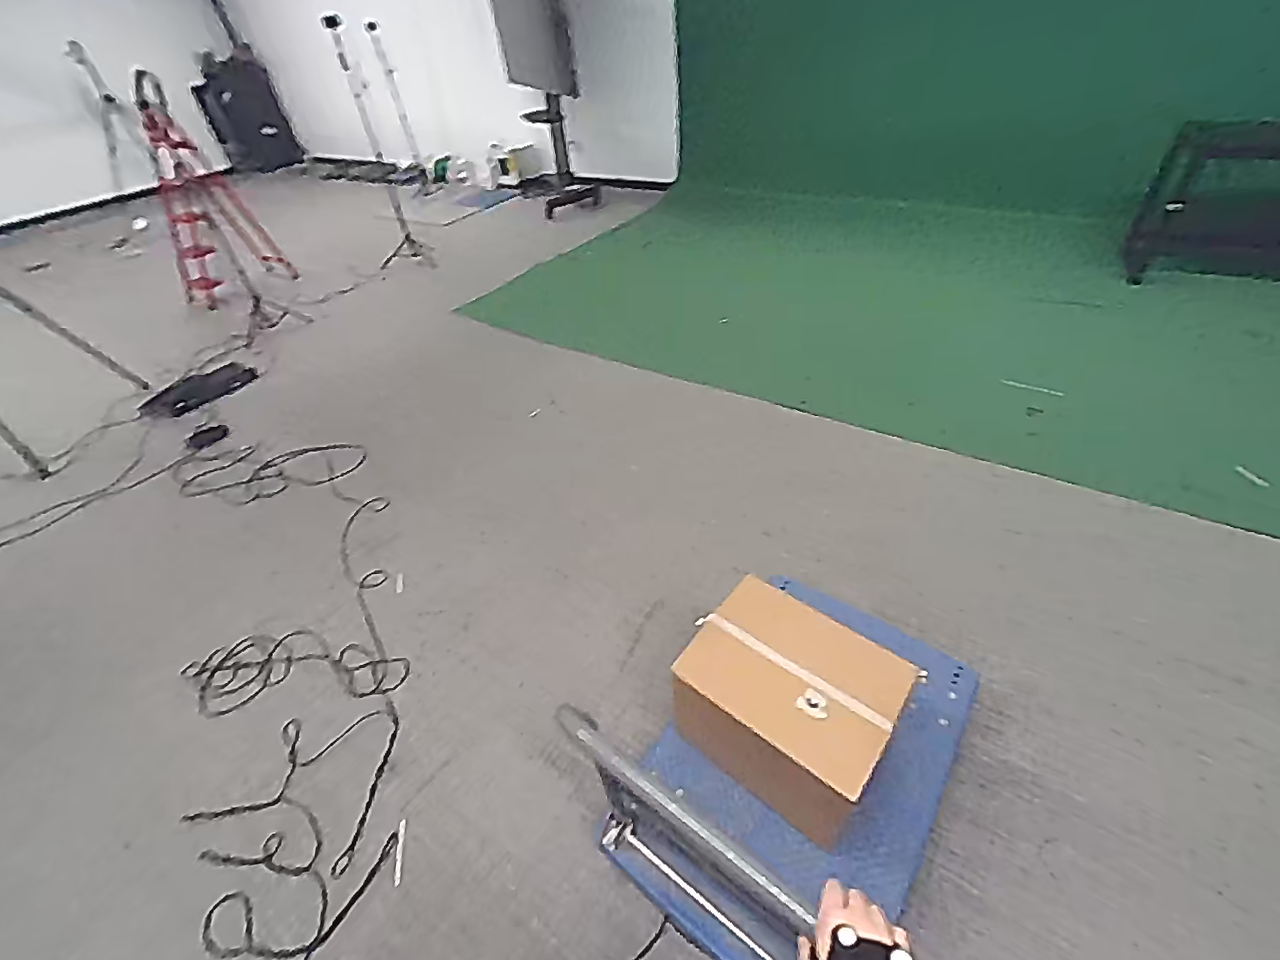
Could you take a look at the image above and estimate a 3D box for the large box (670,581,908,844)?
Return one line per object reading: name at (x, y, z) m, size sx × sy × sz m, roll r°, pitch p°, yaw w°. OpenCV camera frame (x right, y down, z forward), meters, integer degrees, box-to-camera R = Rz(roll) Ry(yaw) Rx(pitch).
large box at (0.313, 0.509, 1.225) m, size 0.408 × 0.320 × 0.320 m, roll 27°, pitch 51°, yaw 30°
